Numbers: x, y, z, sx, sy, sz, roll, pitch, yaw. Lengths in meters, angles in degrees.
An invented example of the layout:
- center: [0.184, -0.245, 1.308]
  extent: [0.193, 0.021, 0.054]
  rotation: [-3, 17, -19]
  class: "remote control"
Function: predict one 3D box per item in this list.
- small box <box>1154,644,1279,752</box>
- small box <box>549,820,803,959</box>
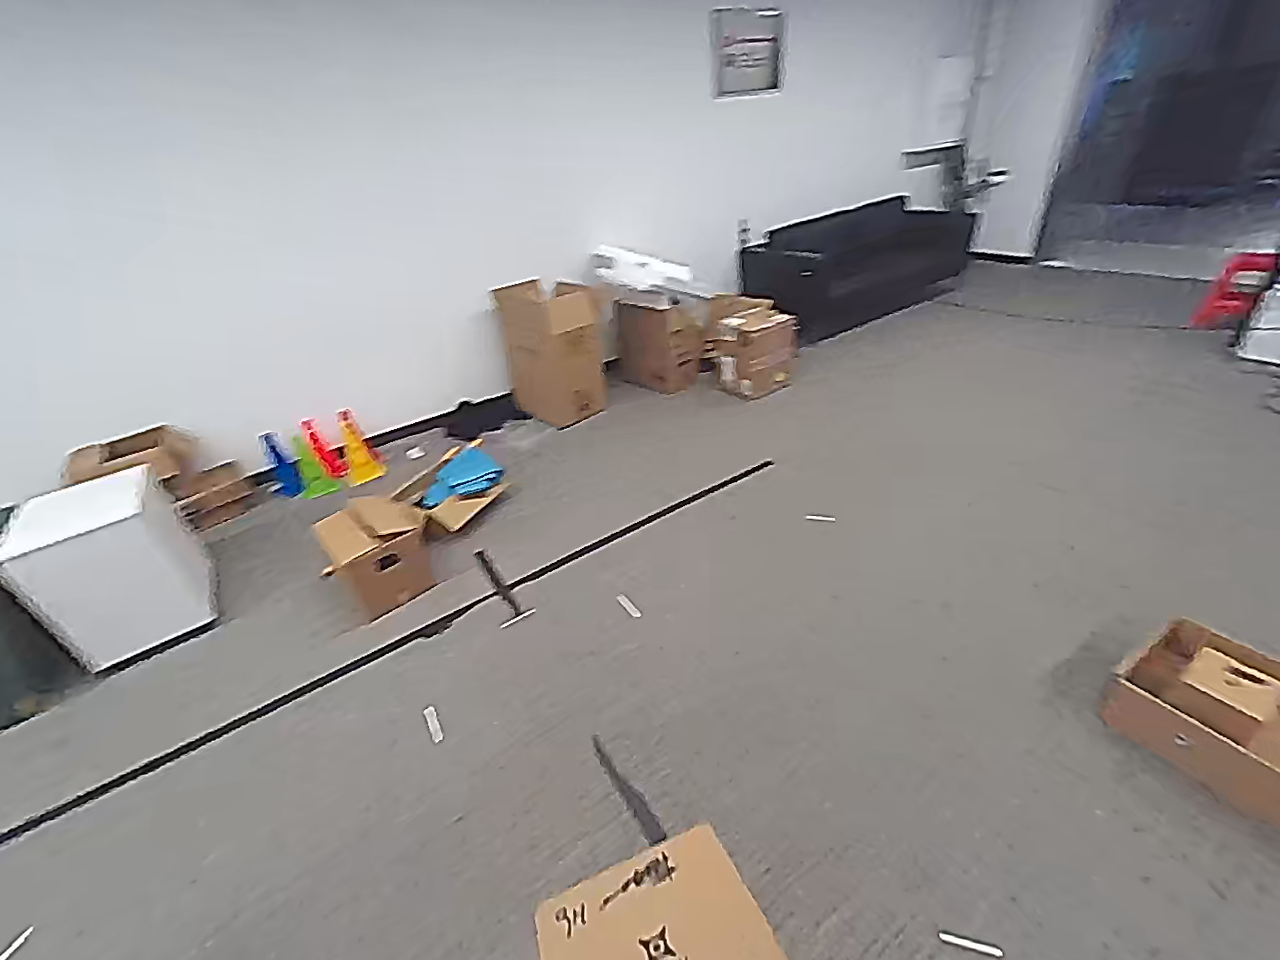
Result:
- center: [1.564, 0.594, 1.476]
  extent: [0.179, 0.176, 0.168]
  rotation: [-25, 37, -26]
  class: "small box"
- center: [0.042, 0.420, 0.409]
  extent: [0.168, 0.176, 0.179]
  rotation: [-16, 15, -15]
  class: "small box"
